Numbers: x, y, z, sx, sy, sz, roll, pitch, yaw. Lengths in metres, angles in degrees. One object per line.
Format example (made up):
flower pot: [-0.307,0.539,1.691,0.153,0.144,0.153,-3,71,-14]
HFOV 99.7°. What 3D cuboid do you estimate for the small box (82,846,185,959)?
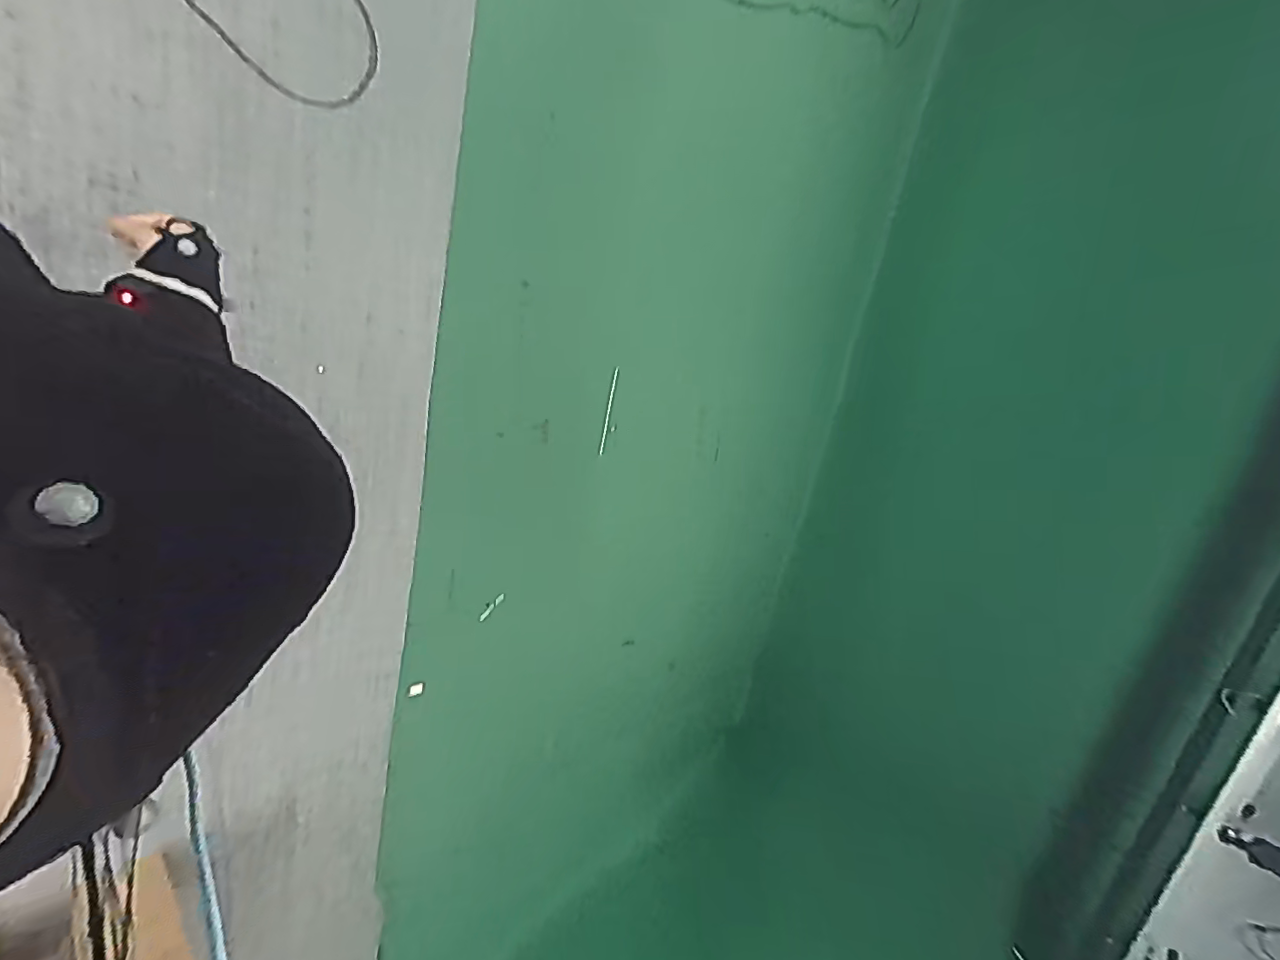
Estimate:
small box: [-1.290,1.095,1.377,0.179,0.176,0.168,-6,113,-50]
